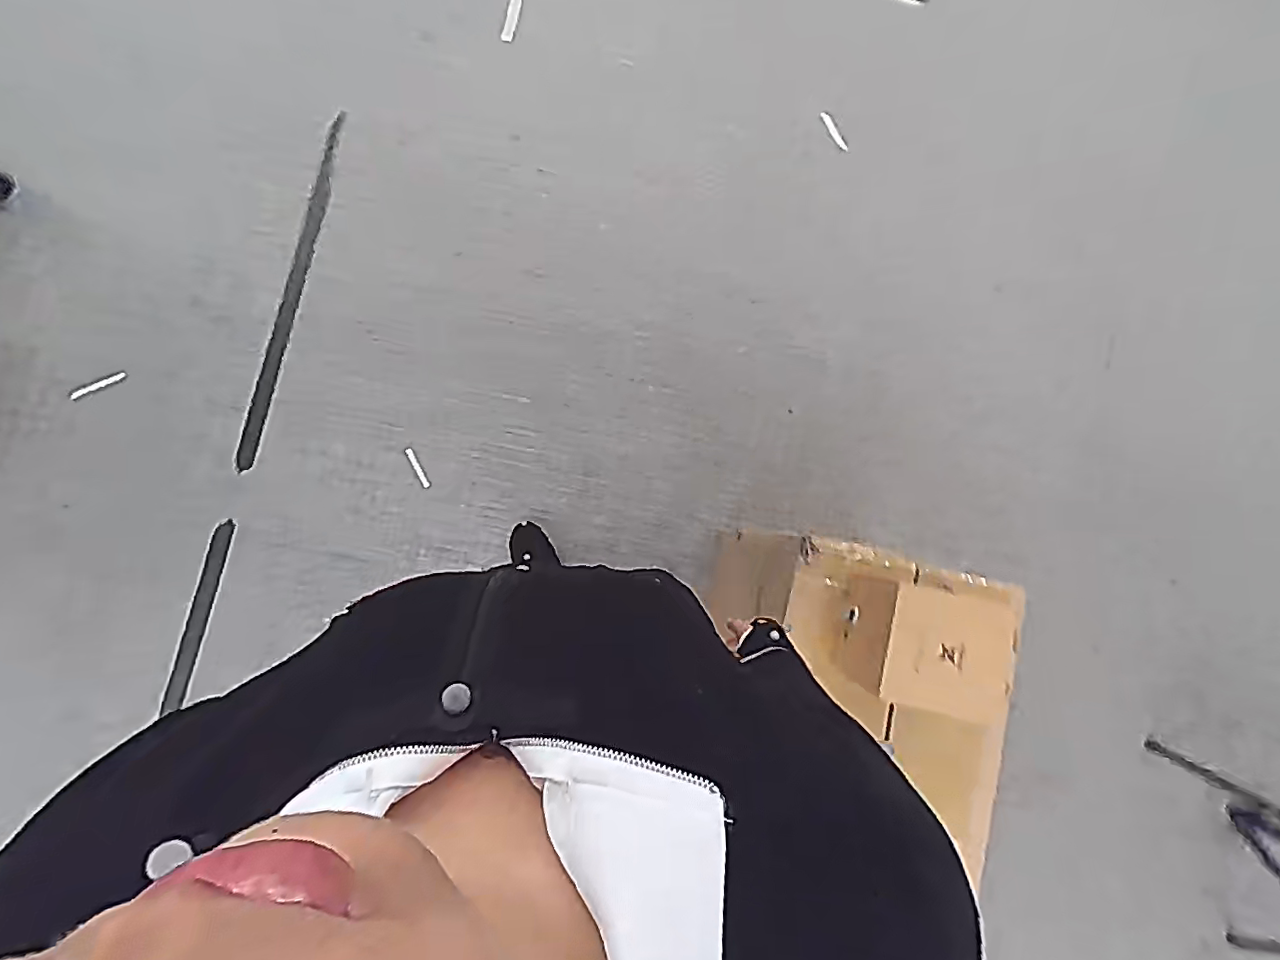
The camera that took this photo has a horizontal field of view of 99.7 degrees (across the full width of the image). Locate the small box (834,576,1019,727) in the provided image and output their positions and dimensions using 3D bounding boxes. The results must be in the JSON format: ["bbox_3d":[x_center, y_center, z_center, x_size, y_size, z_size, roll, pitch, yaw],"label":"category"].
[{"bbox_3d":[0.420,0.246,0.819,0.179,0.176,0.168,13,84,1],"label":"small box"}]
